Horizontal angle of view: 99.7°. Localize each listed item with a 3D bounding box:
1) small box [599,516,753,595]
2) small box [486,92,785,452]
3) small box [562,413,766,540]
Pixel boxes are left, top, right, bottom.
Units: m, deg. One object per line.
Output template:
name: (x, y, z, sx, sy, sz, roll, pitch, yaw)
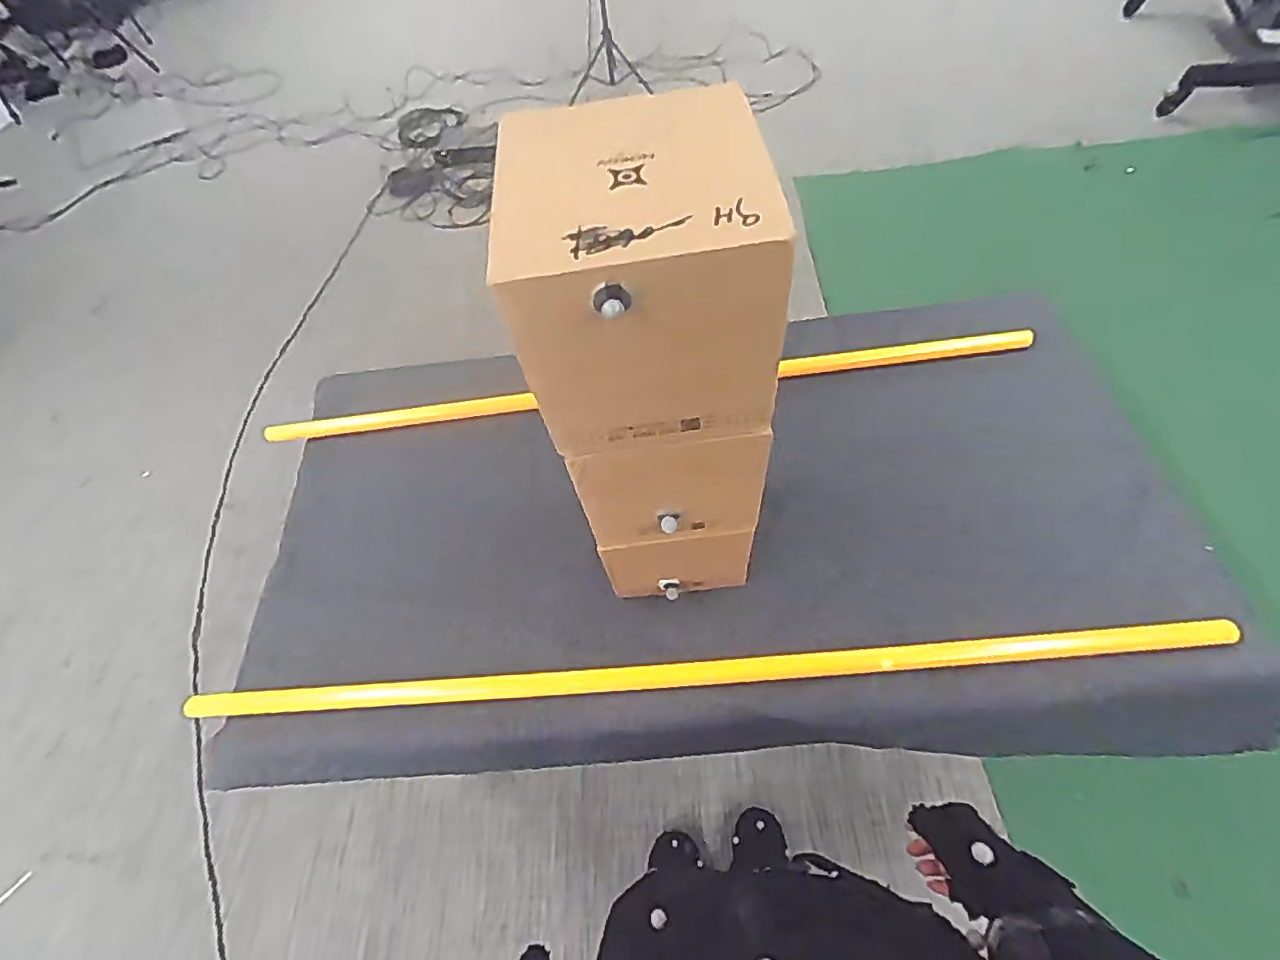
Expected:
small box: (0.038, 0.027, 0.678, 0.168, 0.176, 0.179, -9, 60, 3)
small box: (0.000, -0.144, 0.401, 0.168, 0.176, 0.179, -8, 58, 4)
small box: (0.022, -0.059, 0.539, 0.168, 0.176, 0.179, -7, 59, 4)
